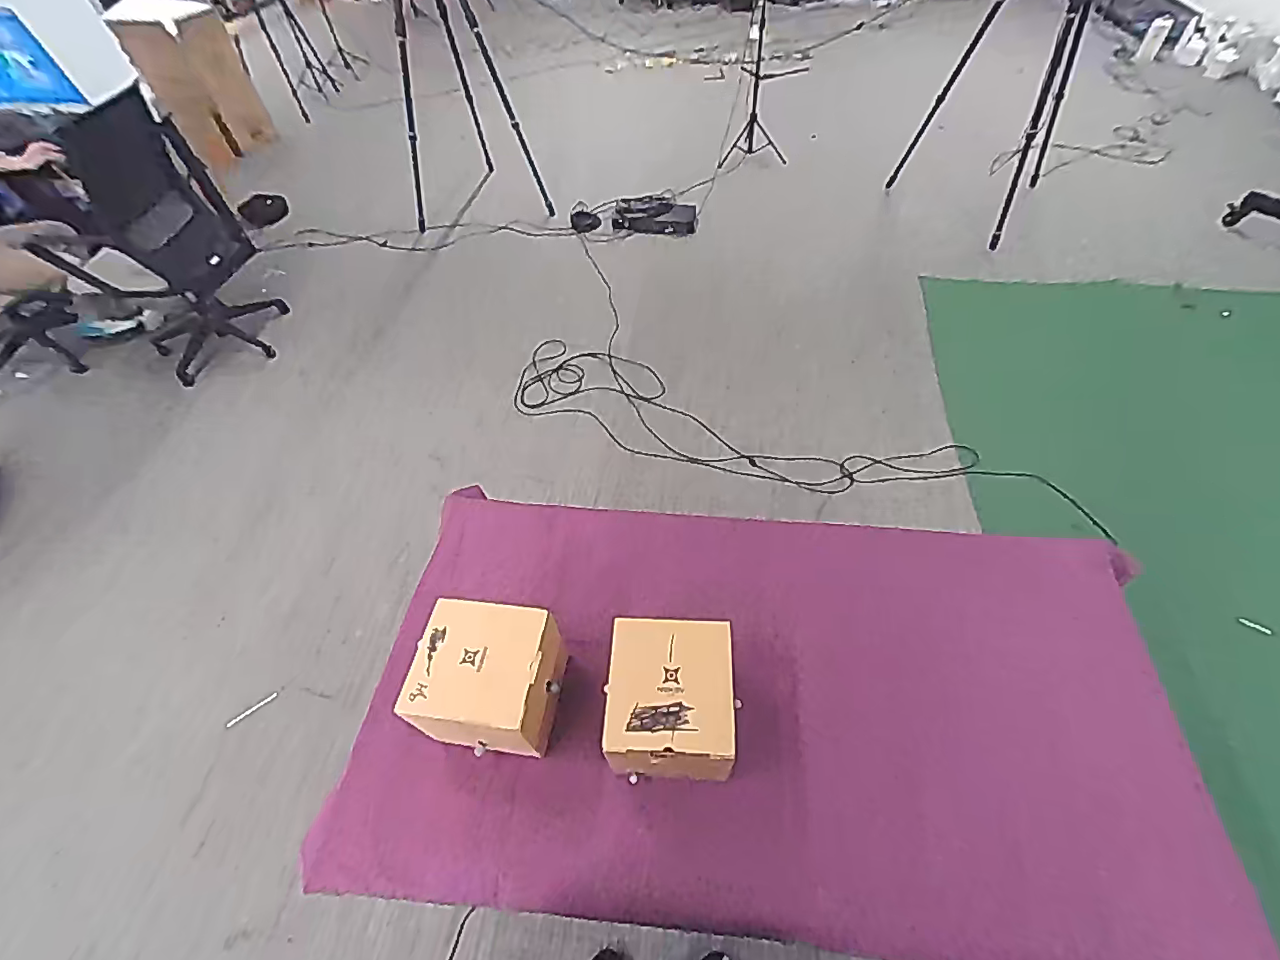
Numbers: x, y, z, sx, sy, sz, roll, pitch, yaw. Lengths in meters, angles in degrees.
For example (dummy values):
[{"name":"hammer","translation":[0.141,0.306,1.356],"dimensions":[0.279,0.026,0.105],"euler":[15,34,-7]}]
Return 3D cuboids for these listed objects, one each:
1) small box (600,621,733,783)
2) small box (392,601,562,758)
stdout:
[{"name":"small box","translation":[0.042,0.318,0.768],"dimensions":[0.168,0.176,0.179],"euler":[1,51,4]},{"name":"small box","translation":[-0.222,0.298,0.799],"dimensions":[0.179,0.176,0.168],"euler":[6,53,6]}]
